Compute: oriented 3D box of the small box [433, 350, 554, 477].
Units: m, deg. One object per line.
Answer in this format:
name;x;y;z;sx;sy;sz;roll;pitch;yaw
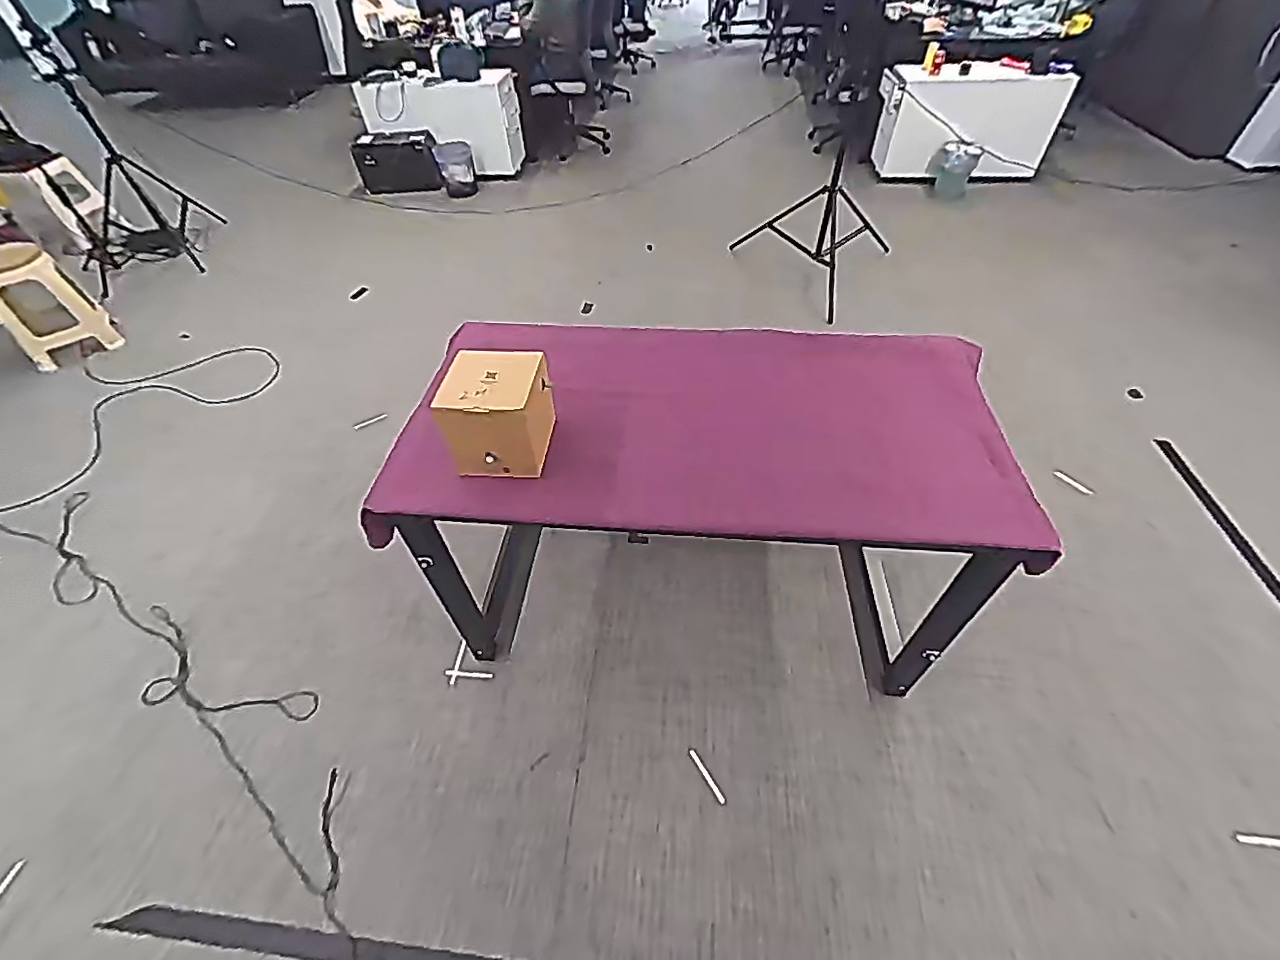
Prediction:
small box;-0.266;-0.127;1.029;0.168;0.176;0.179;1;47;4
